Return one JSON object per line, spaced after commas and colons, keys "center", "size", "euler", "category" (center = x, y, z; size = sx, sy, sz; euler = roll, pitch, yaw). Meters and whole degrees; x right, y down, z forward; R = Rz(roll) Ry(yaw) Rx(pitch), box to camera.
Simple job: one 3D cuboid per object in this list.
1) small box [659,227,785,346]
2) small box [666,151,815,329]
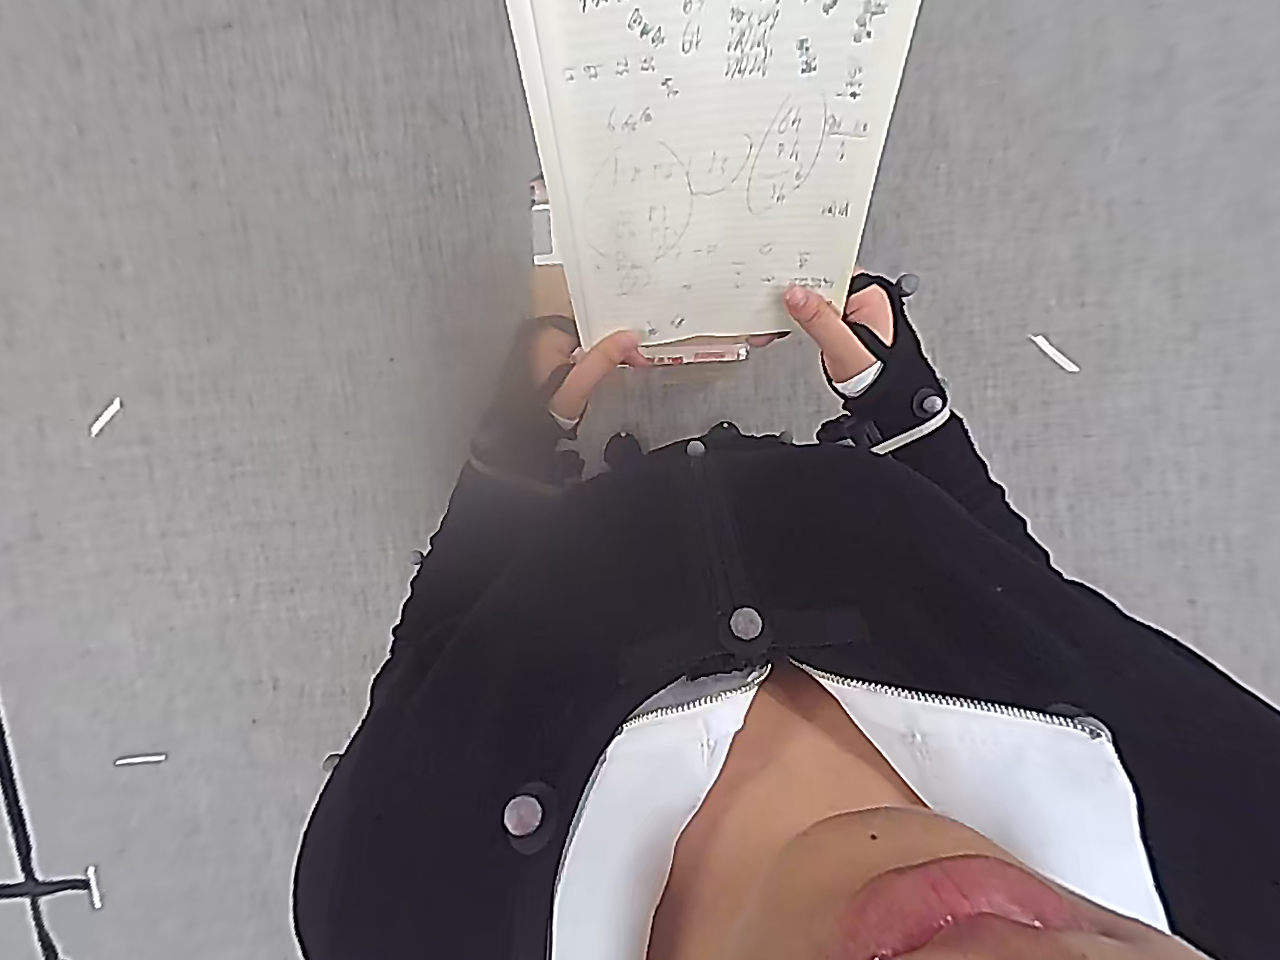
{"center": [0.131, -0.328, 0.914], "size": [0.179, 0.176, 0.168], "euler": [-8, 96, 1], "category": "small box"}
{"center": [0.129, -0.319, 0.750], "size": [0.168, 0.176, 0.179], "euler": [-6, 96, -1], "category": "small box"}
